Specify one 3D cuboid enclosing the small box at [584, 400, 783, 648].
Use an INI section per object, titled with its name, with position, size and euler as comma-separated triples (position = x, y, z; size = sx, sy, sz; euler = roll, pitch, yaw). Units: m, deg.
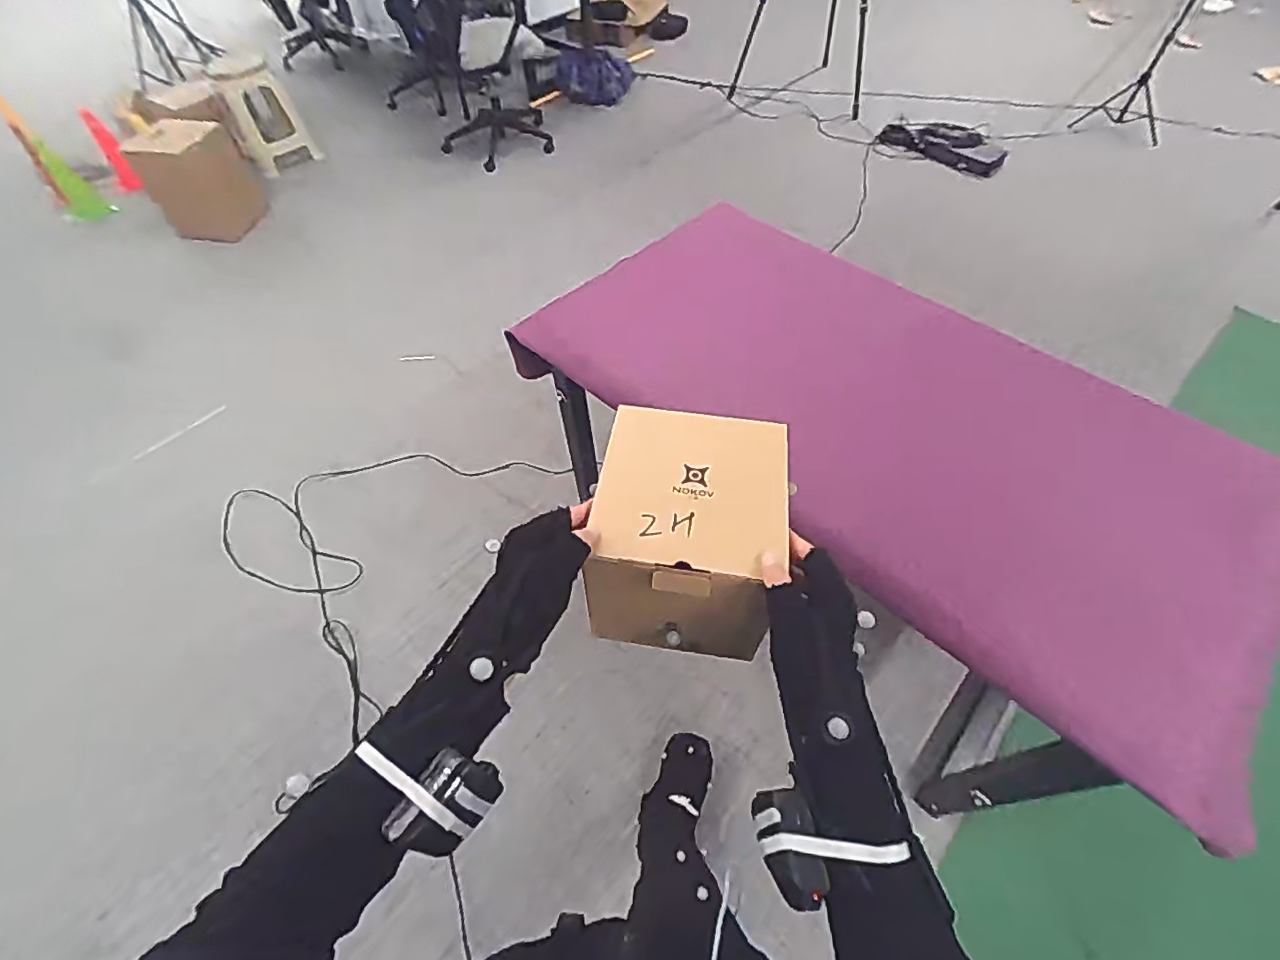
[small box]
position = 0.045, 0.046, 0.547
size = 0.168, 0.176, 0.179
euler = 7, 53, 5
